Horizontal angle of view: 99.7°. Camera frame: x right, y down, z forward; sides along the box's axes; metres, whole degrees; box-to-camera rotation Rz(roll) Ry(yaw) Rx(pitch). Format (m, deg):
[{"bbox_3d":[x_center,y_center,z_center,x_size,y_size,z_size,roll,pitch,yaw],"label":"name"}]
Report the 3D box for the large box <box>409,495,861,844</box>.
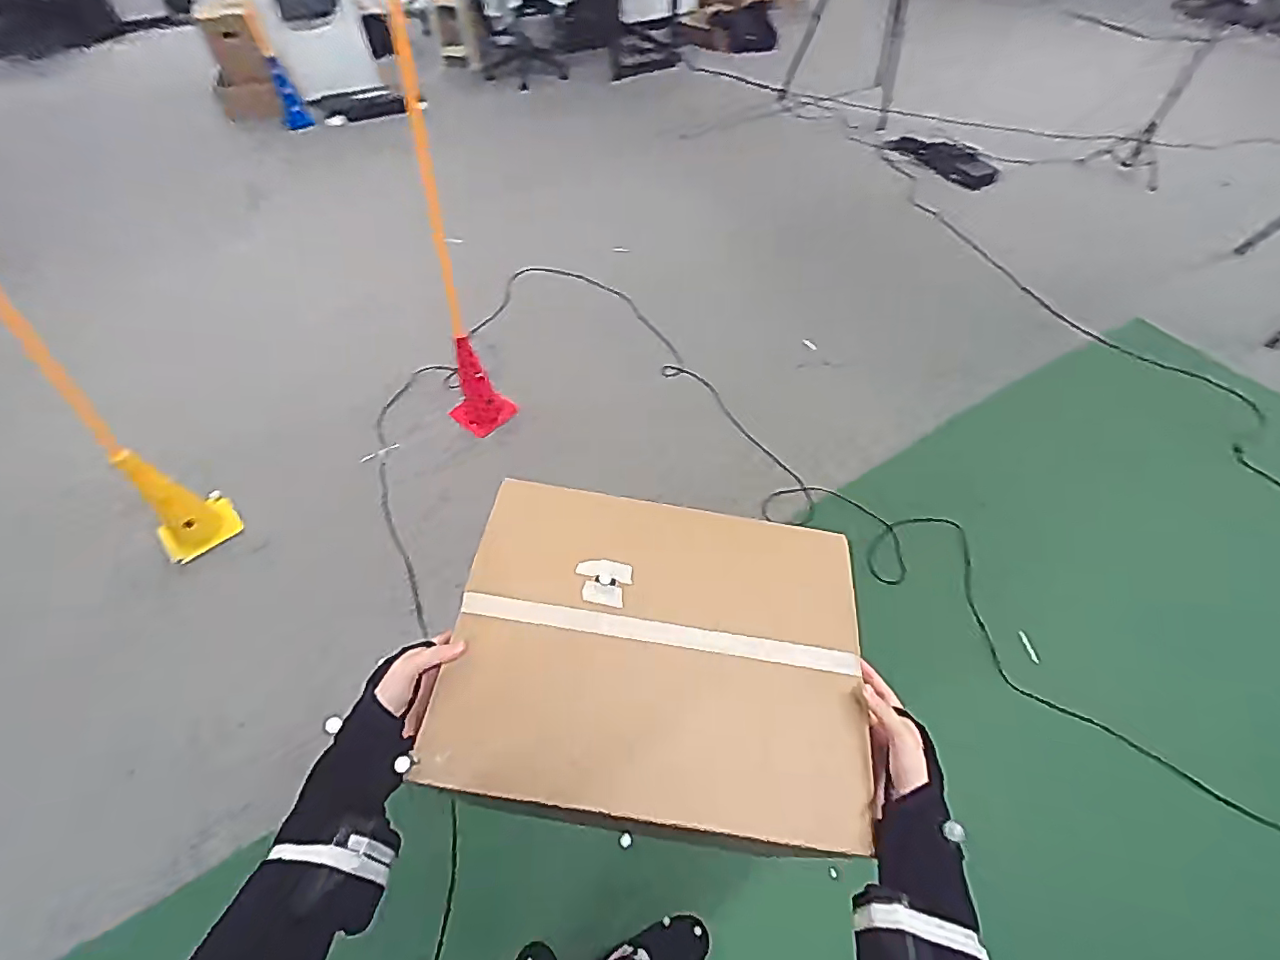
[{"bbox_3d":[0.001,0.248,0.673,0.408,0.320,0.320,8,54,0],"label":"large box"}]
